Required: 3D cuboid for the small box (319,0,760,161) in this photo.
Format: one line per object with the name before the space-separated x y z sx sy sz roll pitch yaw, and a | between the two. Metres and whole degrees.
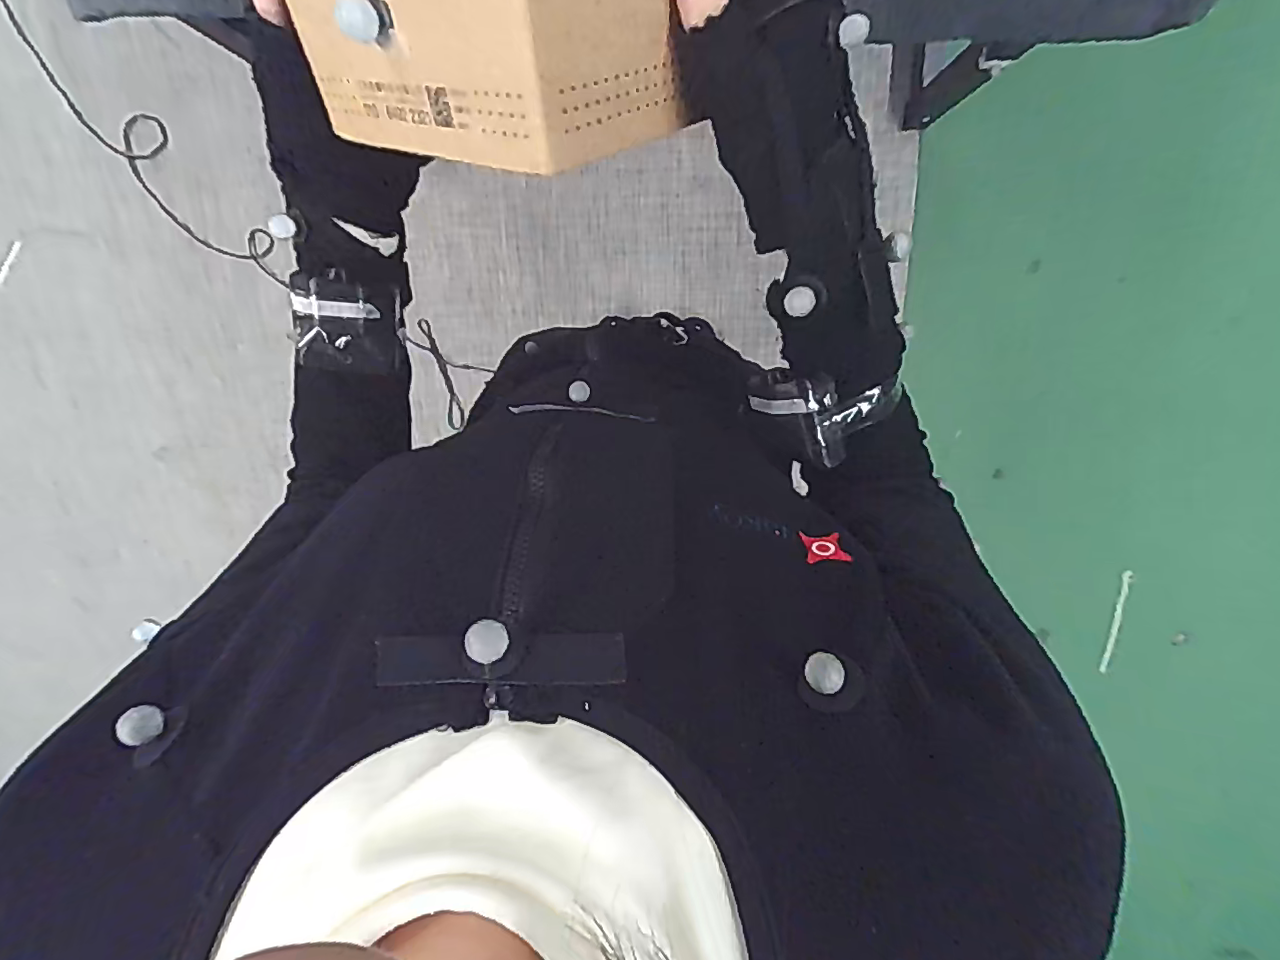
small box | -0.048 -0.271 0.250 0.168 0.179 0.176 27 143 28
